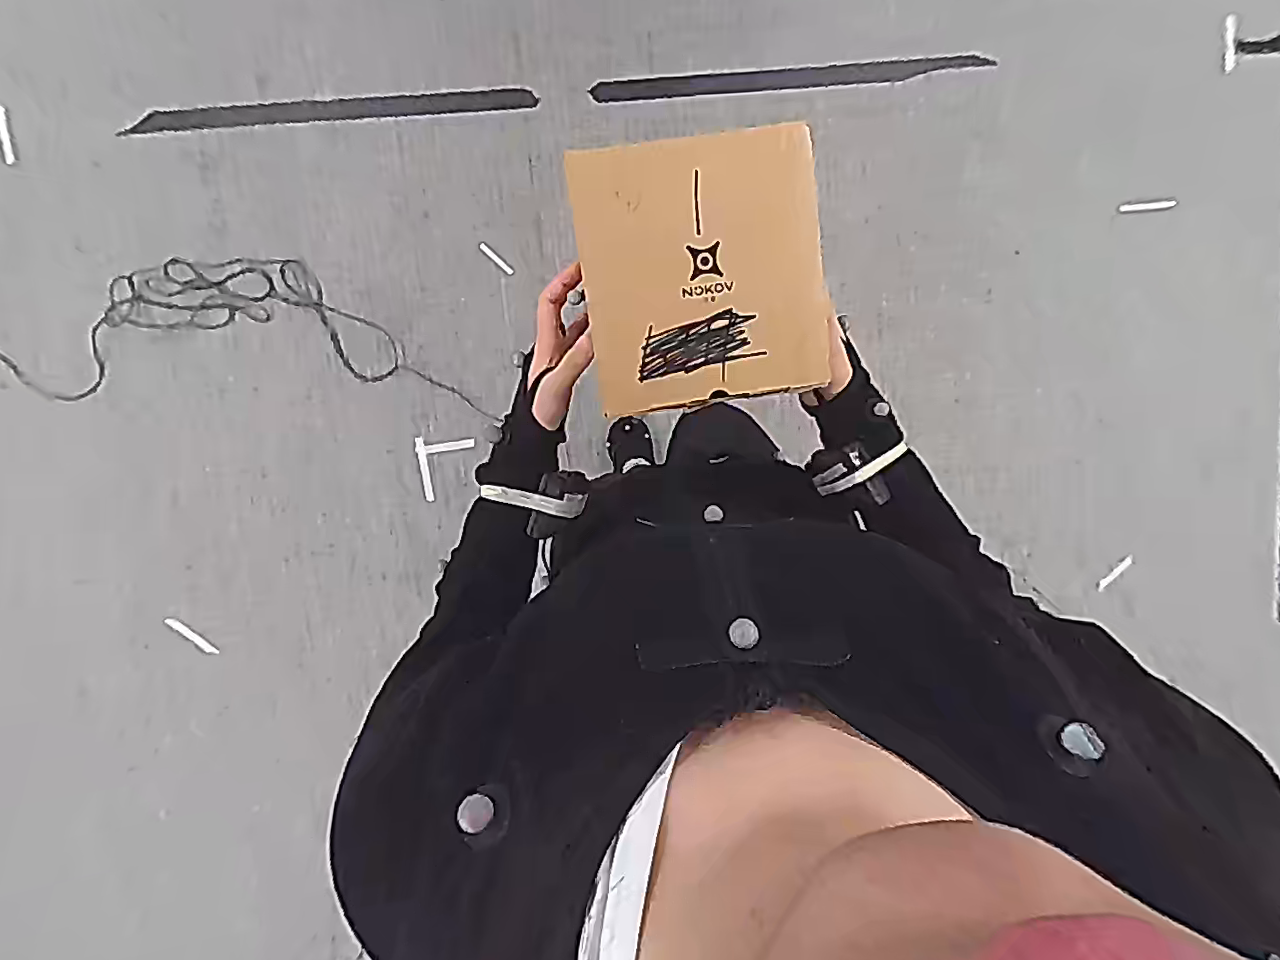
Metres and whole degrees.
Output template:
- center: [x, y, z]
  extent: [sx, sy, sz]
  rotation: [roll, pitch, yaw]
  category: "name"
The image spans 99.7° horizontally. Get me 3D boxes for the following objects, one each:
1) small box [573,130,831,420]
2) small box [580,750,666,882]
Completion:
- center: [0.042, -0.151, 0.448]
  extent: [0.168, 0.176, 0.179]
  rotation: [-8, 99, -3]
  category: "small box"
- center: [-0.038, 0.697, 1.146]
  extent: [0.168, 0.176, 0.179]
  rotation: [-5, 95, -3]
  category: "small box"
